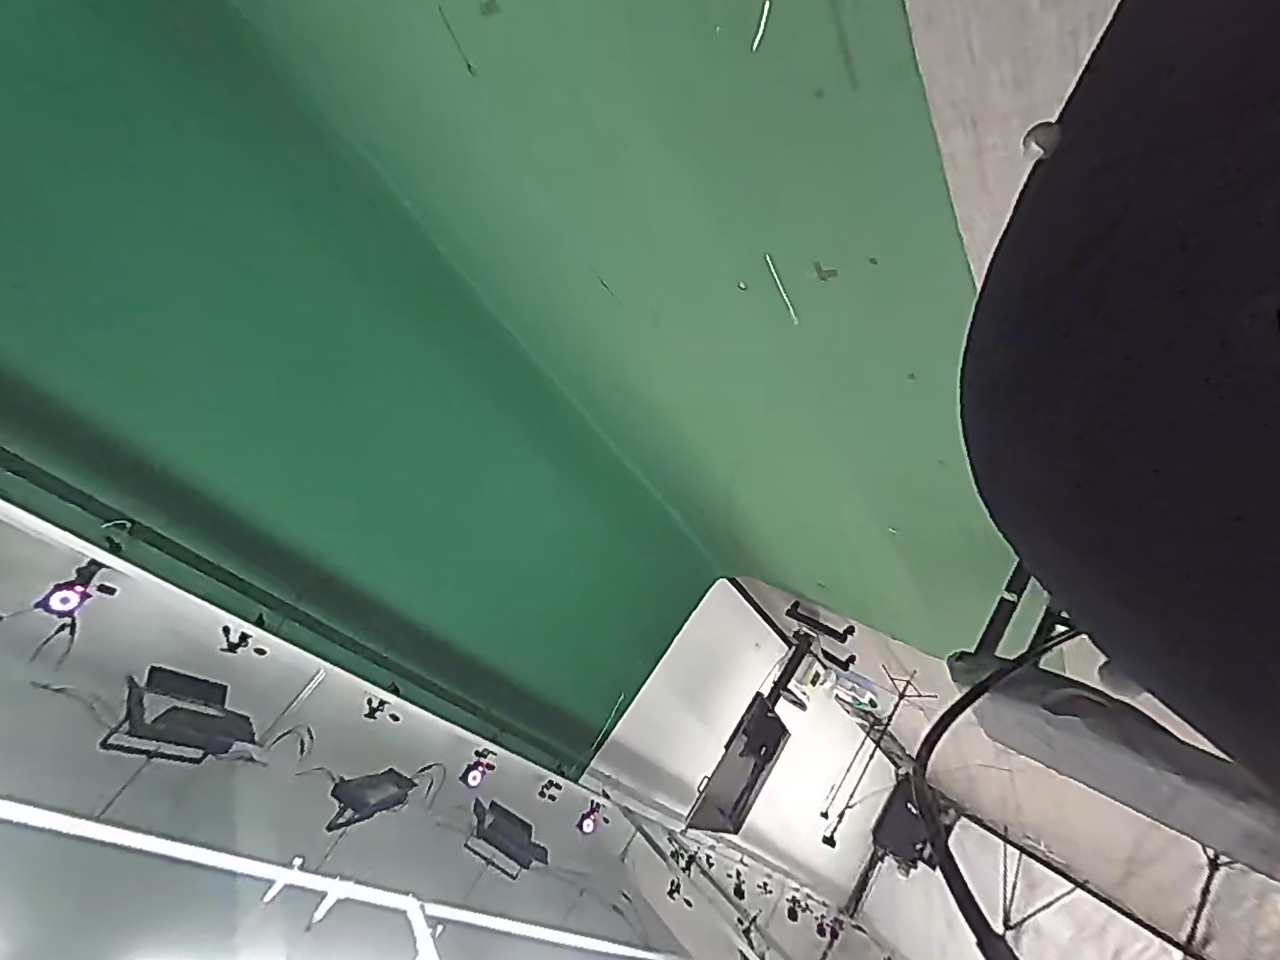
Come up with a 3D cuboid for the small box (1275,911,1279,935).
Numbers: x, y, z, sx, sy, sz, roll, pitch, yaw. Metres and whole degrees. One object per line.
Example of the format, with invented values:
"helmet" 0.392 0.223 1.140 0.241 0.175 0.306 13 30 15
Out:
"small box" 1.830 1.167 1.423 0.168 0.176 0.179 48 162 -31
